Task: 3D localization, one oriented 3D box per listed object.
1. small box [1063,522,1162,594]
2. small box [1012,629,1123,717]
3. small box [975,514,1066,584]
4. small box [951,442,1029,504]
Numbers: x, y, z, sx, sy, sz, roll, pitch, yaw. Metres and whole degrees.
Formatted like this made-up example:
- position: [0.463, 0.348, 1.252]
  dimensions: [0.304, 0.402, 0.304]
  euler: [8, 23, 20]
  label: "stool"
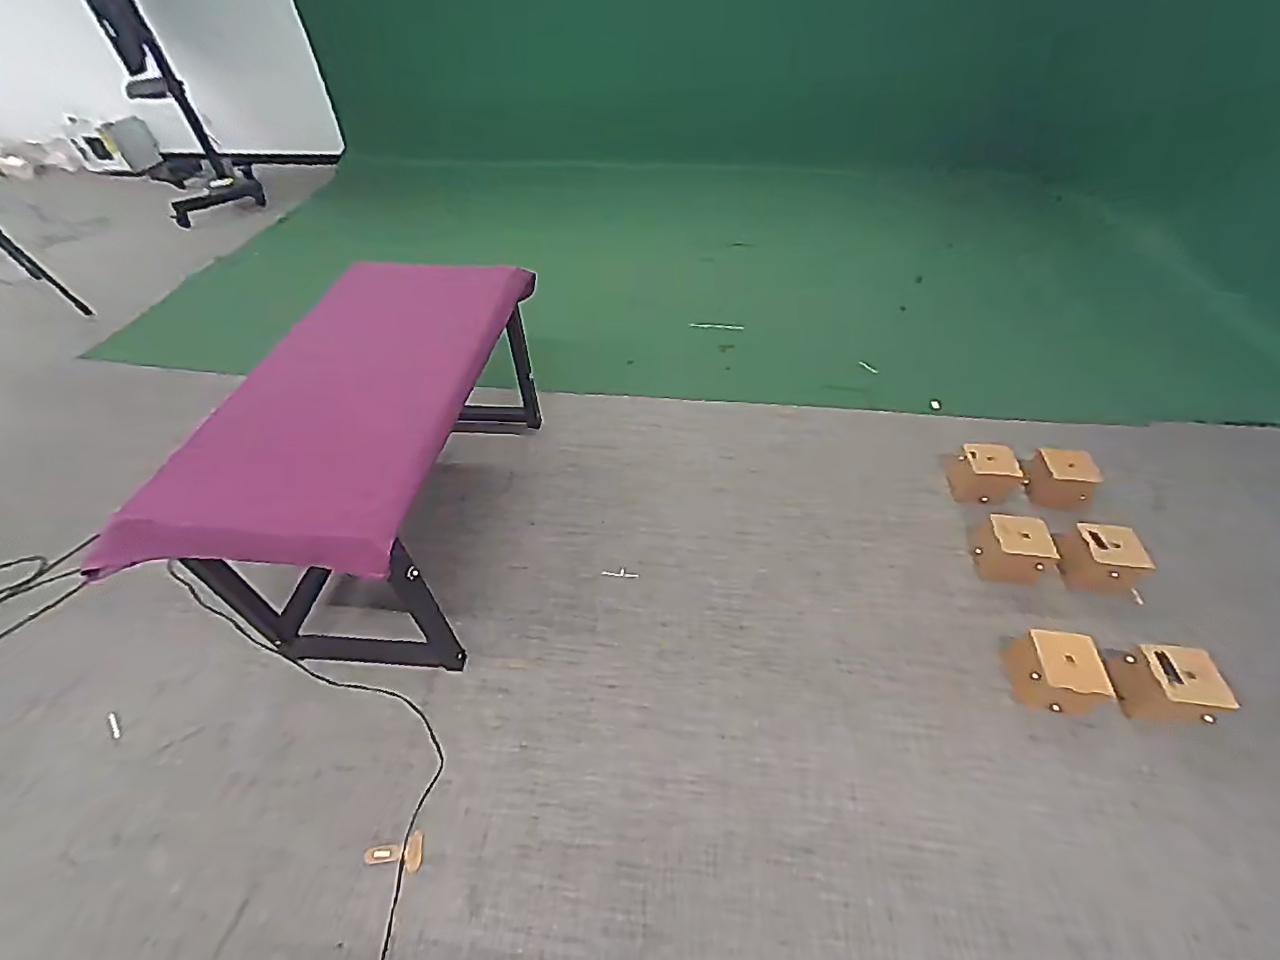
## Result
- position: [1.559, 0.262, 1.803]
  dimensions: [0.179, 0.176, 0.168]
  euler: [6, 48, 7]
  label: "small box"
- position: [1.211, 0.555, 1.551]
  dimensions: [0.168, 0.176, 0.179]
  euler: [5, 48, 8]
  label: "small box"
- position: [1.285, 0.237, 1.839]
  dimensions: [0.179, 0.176, 0.168]
  euler: [5, 47, 7]
  label: "small box"
- position: [1.337, -0.024, 2.078]
  dimensions: [0.179, 0.176, 0.168]
  euler: [5, 47, 5]
  label: "small box"
